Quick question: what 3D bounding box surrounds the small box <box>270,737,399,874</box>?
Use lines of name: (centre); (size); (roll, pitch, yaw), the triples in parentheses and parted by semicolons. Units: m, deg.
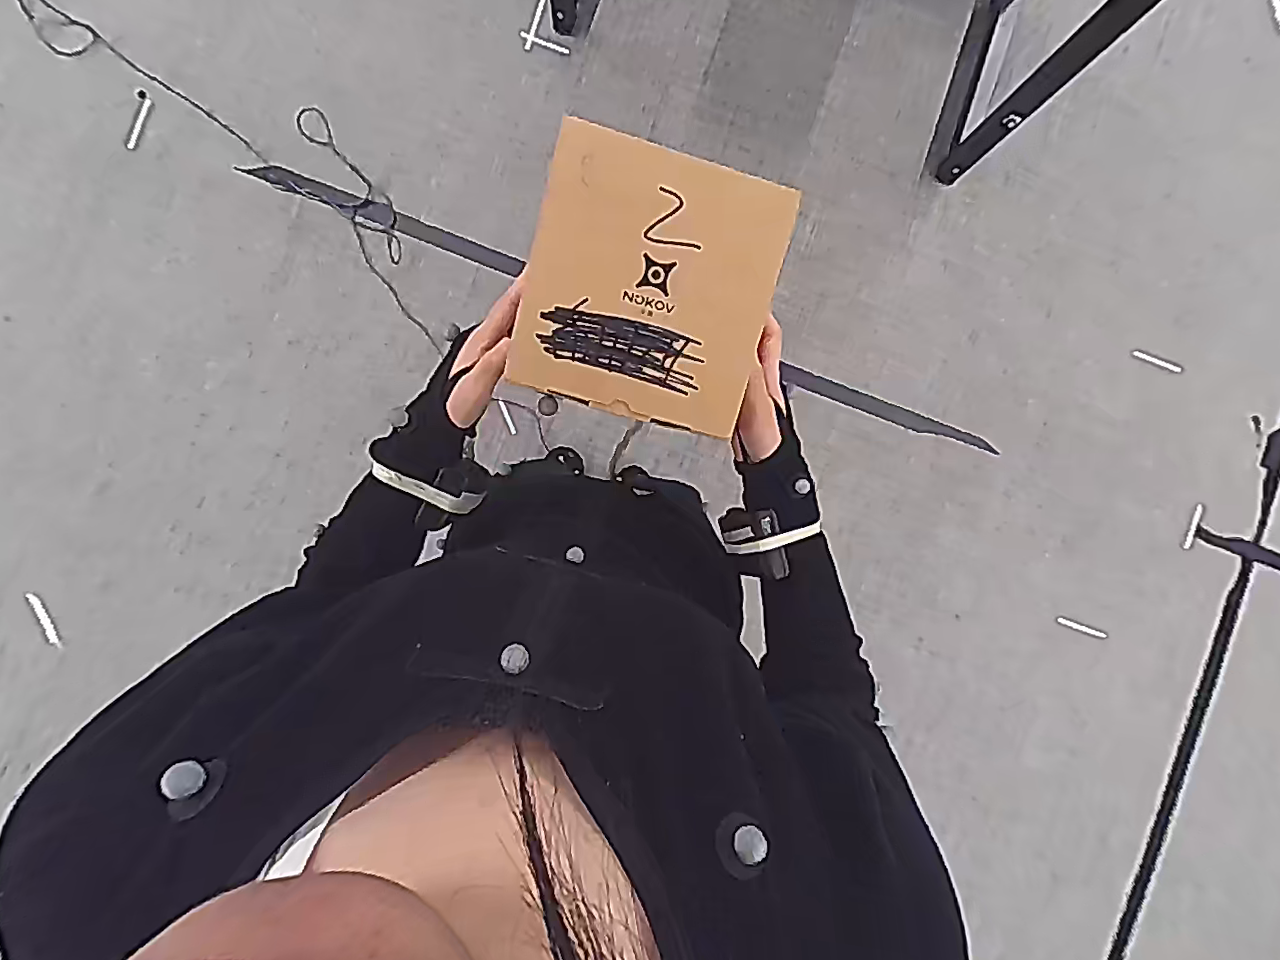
small box: (-0.669, 0.717, 1.208); (0.168, 0.176, 0.179); (22, 88, -3)
